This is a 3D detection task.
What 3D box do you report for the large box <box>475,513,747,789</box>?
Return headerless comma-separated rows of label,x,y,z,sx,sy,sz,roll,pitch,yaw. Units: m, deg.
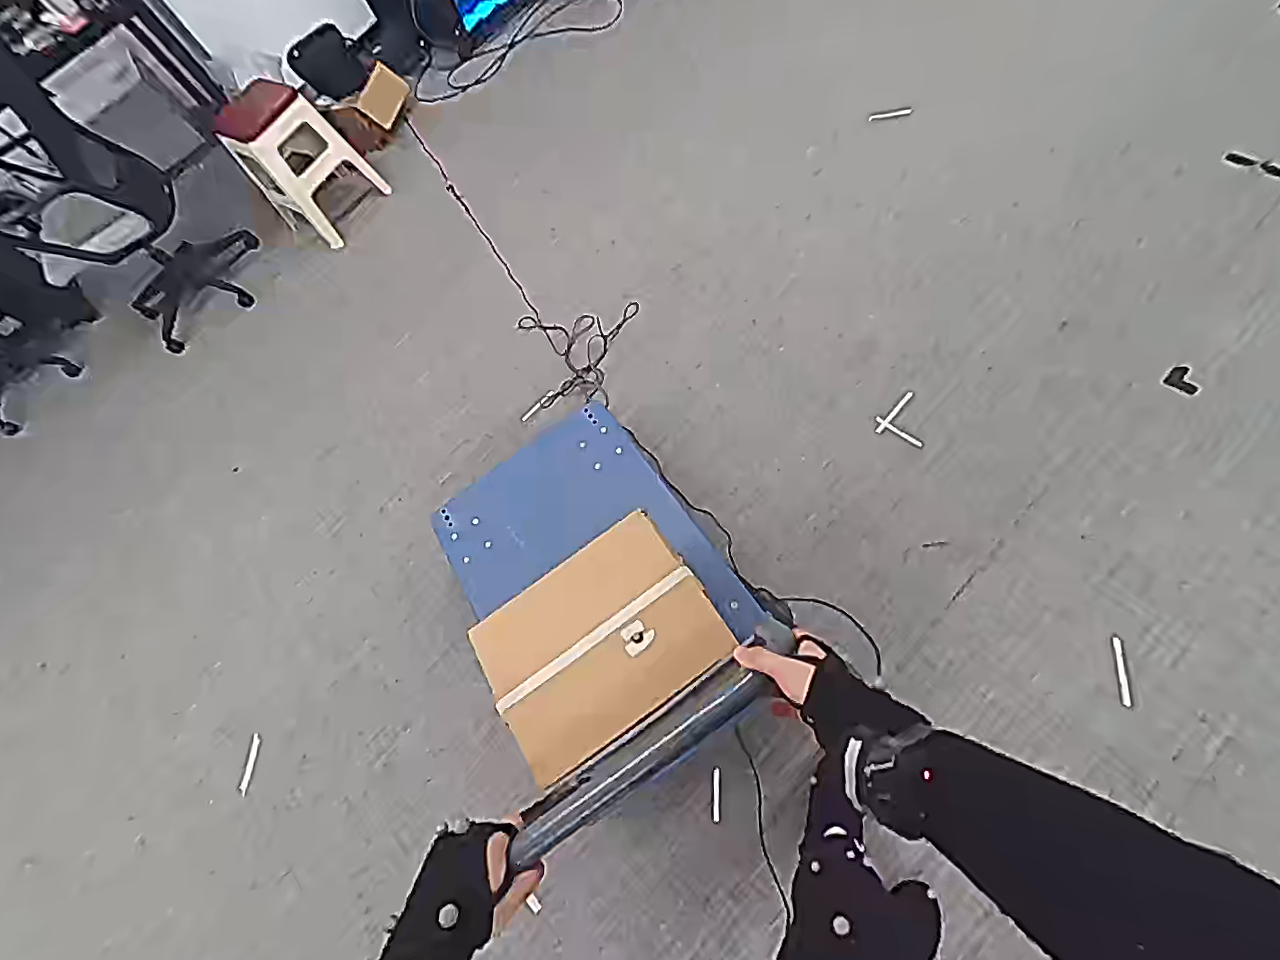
large box,-0.041,0.345,1.090,0.408,0.320,0.320,-35,63,-3
